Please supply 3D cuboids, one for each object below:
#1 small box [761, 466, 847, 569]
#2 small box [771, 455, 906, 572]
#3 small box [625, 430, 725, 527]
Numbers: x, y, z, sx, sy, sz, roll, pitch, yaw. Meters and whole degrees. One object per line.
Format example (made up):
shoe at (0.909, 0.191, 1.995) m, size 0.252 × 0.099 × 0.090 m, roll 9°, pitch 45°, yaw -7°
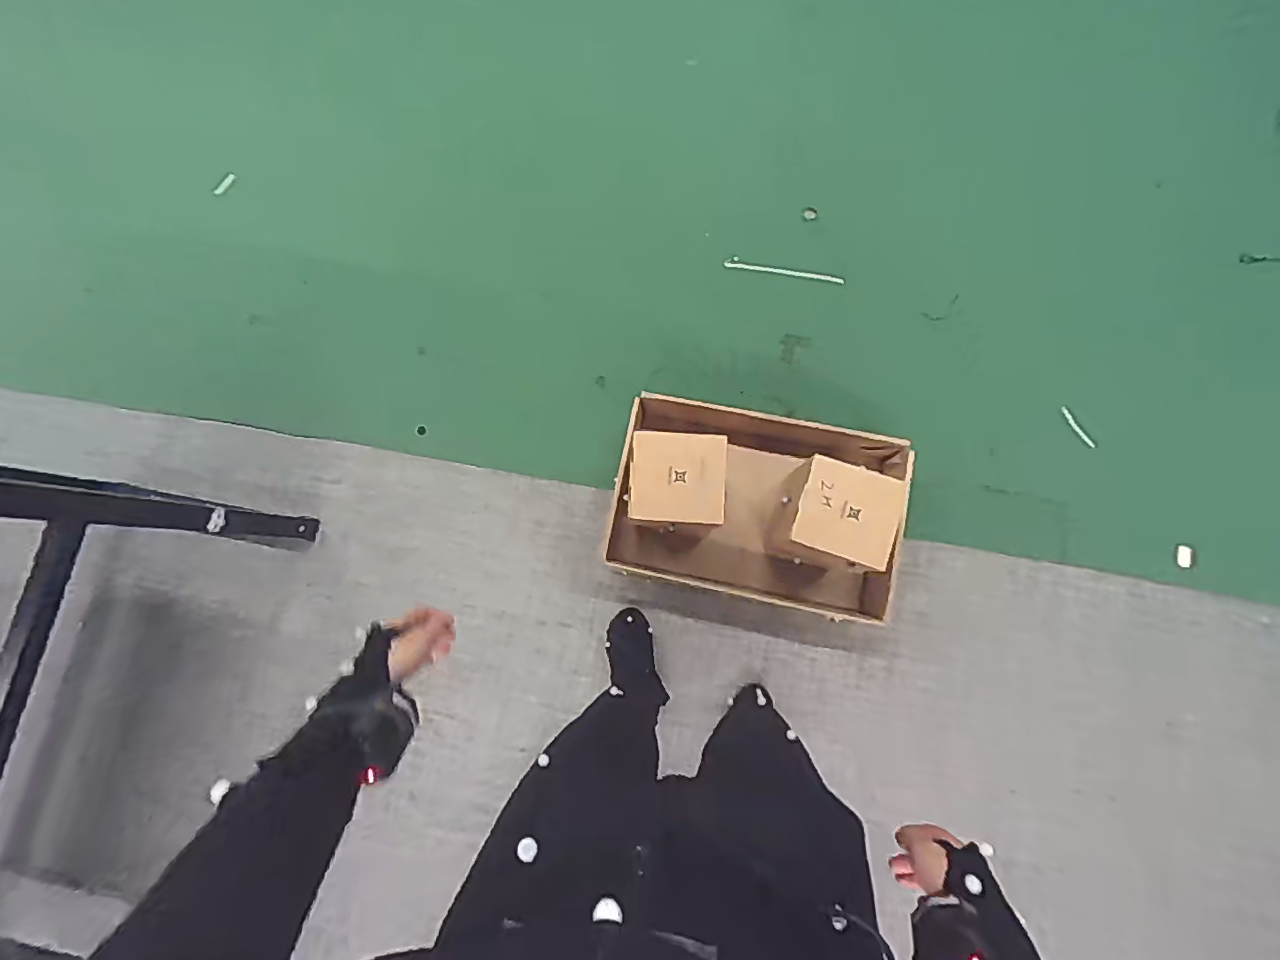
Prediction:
small box at (0.379, 0.087, 1.203) m, size 0.168 × 0.176 × 0.179 m, roll 18°, pitch 84°, yaw 6°
small box at (0.371, 0.067, 1.039) m, size 0.179 × 0.176 × 0.168 m, roll 19°, pitch 83°, yaw 6°
small box at (0.065, 0.003, 1.060) m, size 0.179 × 0.176 × 0.168 m, roll 3°, pitch 83°, yaw 1°
